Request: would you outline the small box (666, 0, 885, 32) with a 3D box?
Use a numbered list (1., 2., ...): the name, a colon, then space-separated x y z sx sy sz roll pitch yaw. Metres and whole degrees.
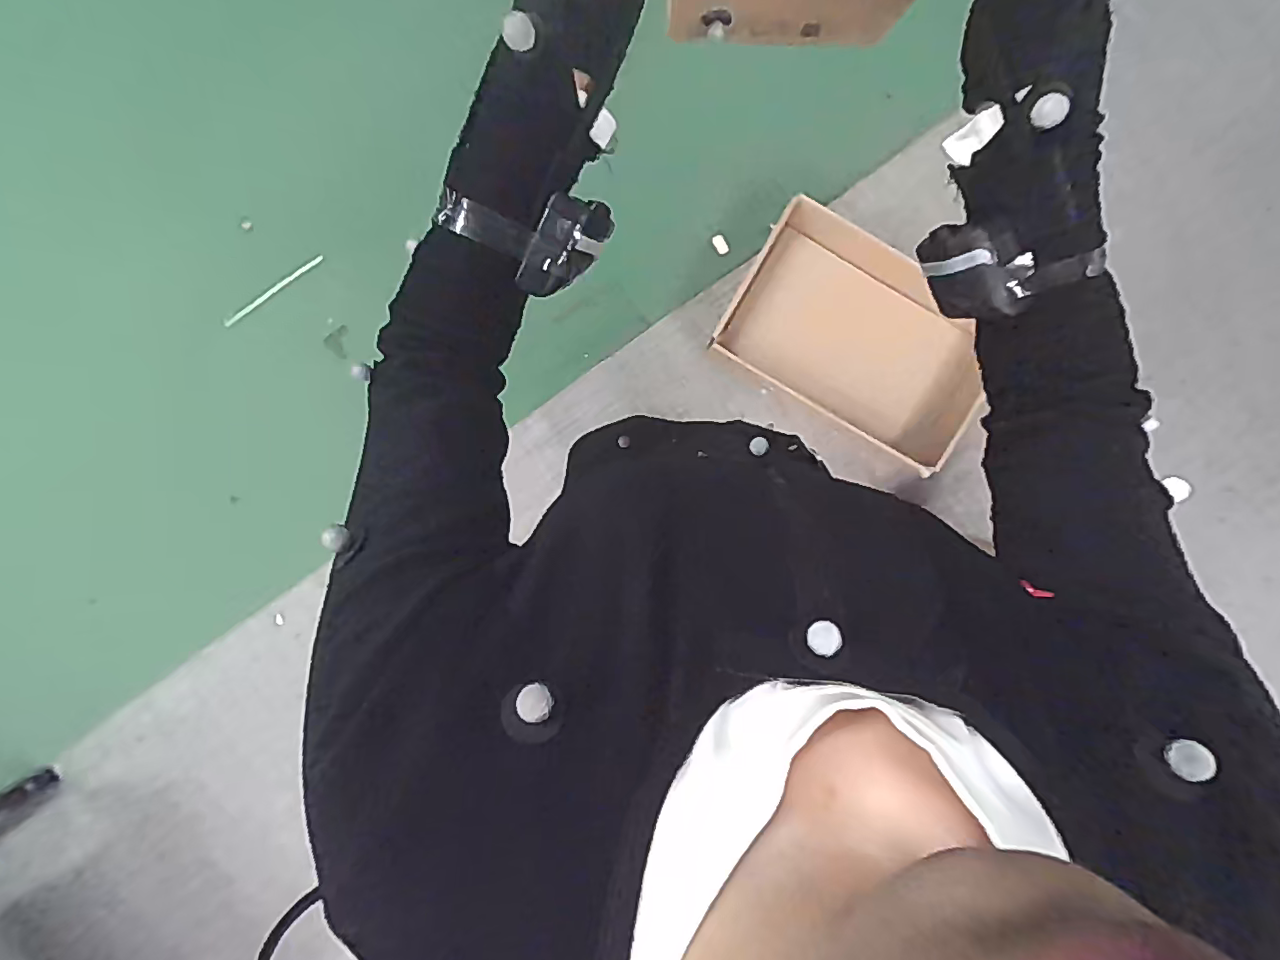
1. small box: 0.095 -0.405 0.315 0.168 0.176 0.179 0 99 -1
